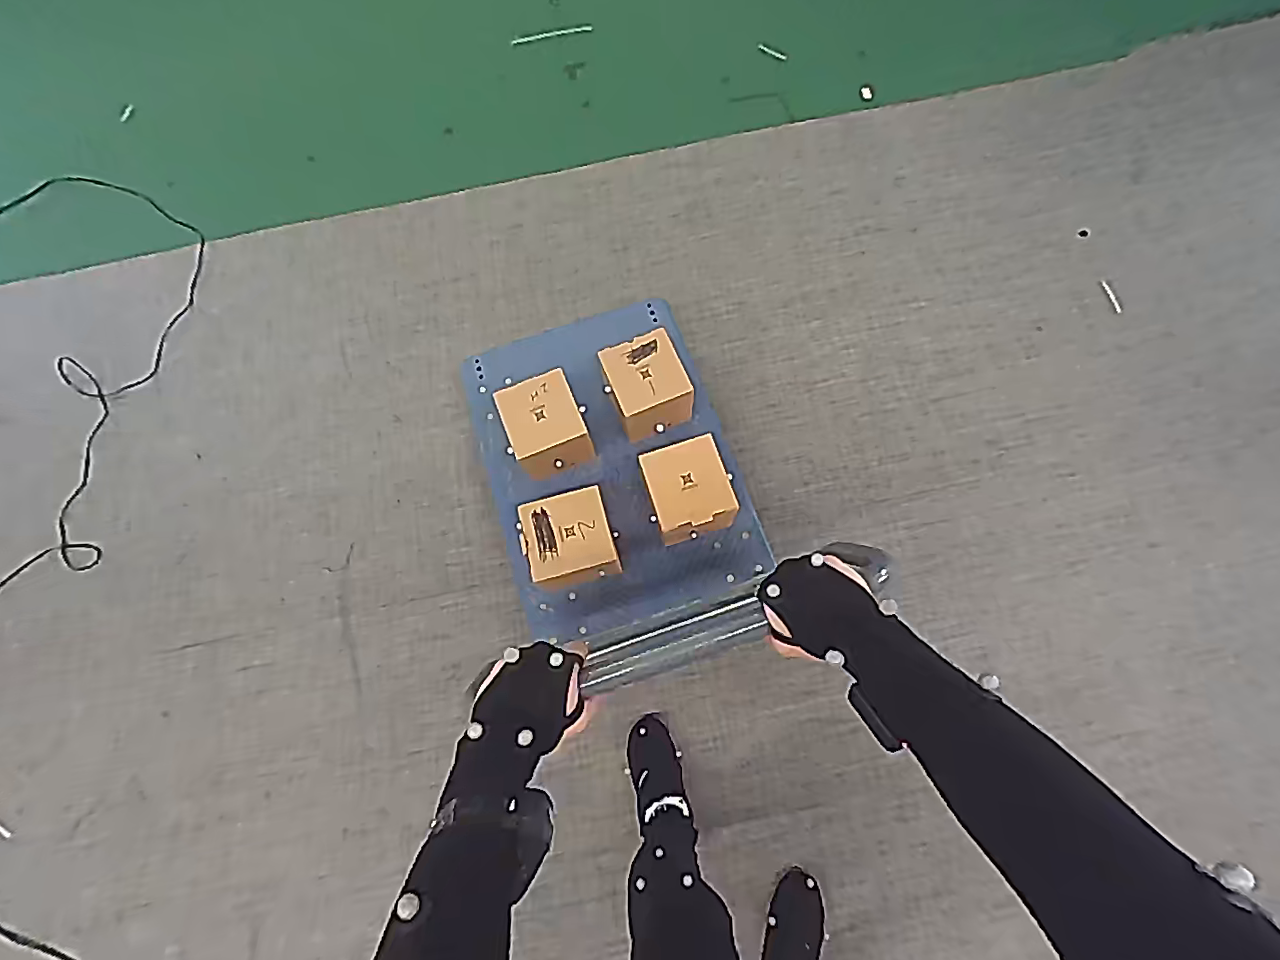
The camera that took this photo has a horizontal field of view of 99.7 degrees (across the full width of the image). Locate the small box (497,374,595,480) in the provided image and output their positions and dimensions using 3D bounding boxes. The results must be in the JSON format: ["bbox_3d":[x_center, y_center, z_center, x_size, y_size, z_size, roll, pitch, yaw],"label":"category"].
[{"bbox_3d":[-0.215,-0.115,1.283,0.168,0.176,0.179,-22,73,-5],"label":"small box"}]

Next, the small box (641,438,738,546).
[{"bbox_3d":[0.105,0.033,1.222,0.168,0.176,0.179,-18,73,-3],"label":"small box"}]

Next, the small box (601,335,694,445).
[{"bbox_3d":[0.018,-0.211,1.301,0.168,0.176,0.179,-22,74,-3],"label":"small box"}]
